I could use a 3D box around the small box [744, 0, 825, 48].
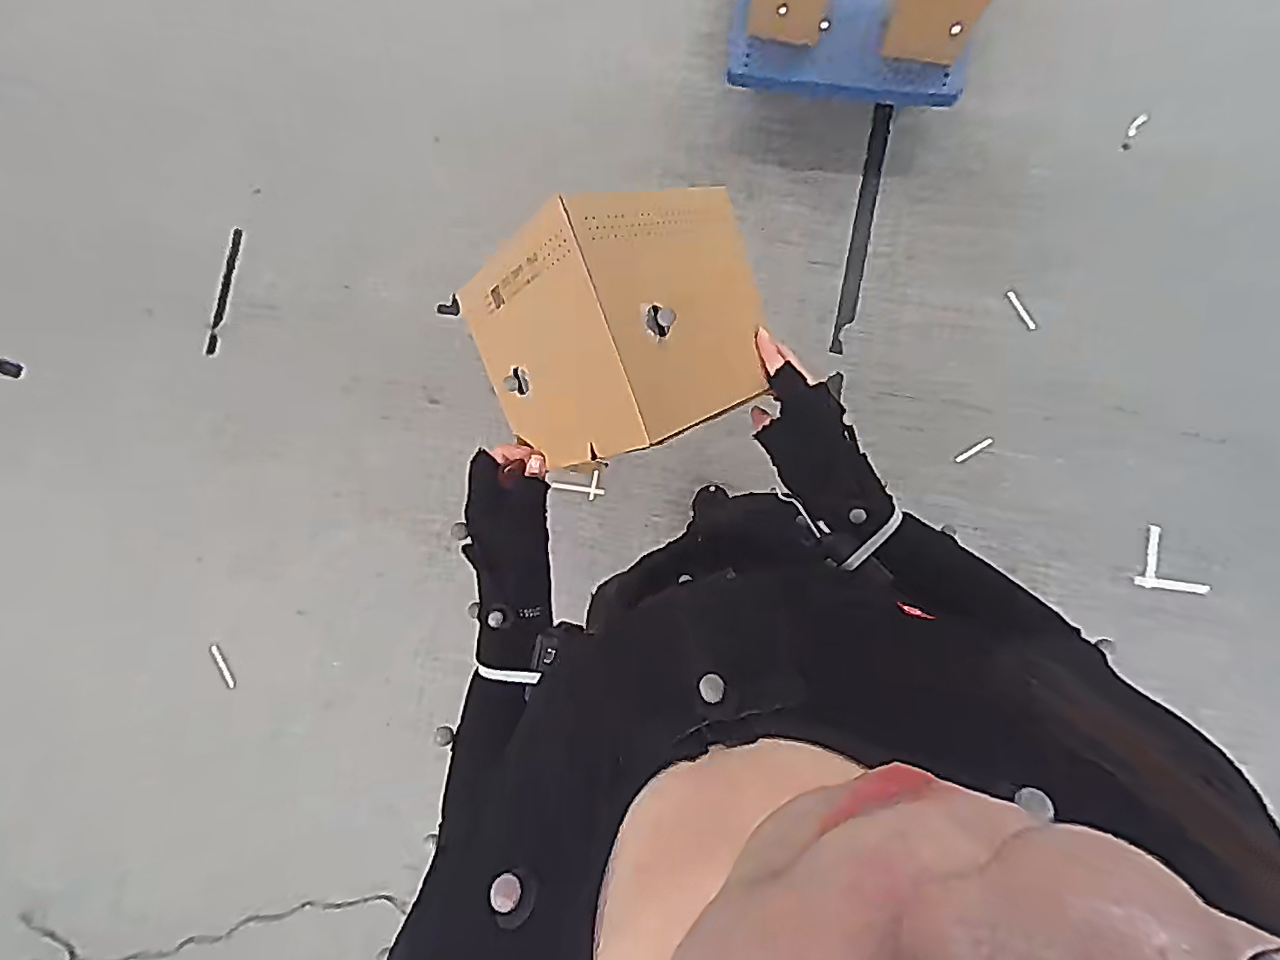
[{"bbox_3d":[0.353,-1.166,1.270,0.179,0.176,0.168,14,88,6],"label":"small box"}]

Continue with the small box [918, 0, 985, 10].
[{"bbox_3d":[0.654,-1.093,1.077,0.179,0.176,0.168,15,88,5],"label":"small box"}]

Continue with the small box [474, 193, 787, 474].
[{"bbox_3d":[-0.010,-0.120,0.456,0.179,0.168,0.176,-28,103,-40],"label":"small box"}]
